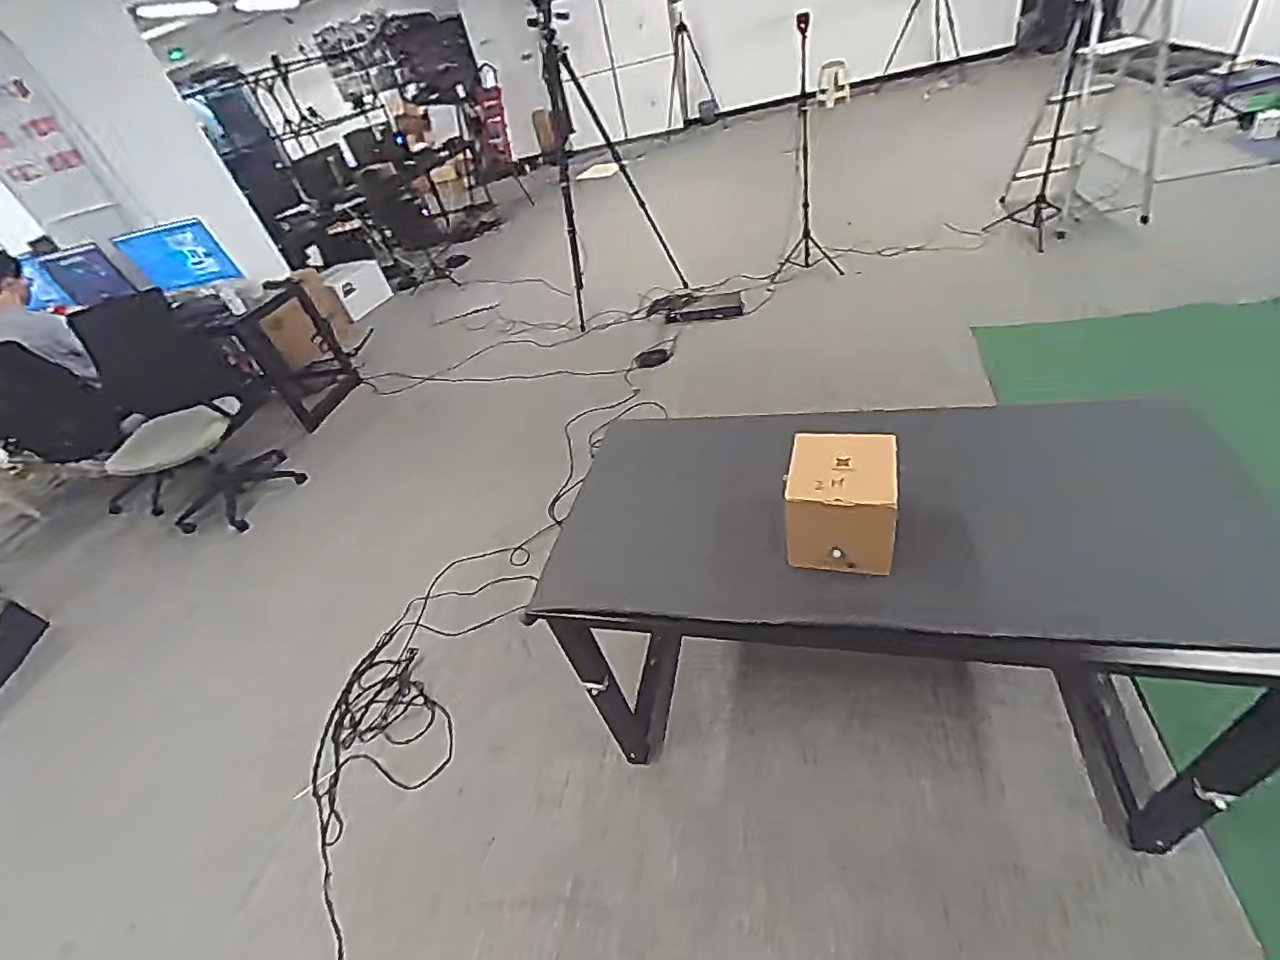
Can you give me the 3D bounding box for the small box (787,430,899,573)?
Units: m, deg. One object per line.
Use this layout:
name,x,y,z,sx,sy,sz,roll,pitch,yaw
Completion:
small box,0.349,0.033,0.932,0.168,0.176,0.179,3,42,22
